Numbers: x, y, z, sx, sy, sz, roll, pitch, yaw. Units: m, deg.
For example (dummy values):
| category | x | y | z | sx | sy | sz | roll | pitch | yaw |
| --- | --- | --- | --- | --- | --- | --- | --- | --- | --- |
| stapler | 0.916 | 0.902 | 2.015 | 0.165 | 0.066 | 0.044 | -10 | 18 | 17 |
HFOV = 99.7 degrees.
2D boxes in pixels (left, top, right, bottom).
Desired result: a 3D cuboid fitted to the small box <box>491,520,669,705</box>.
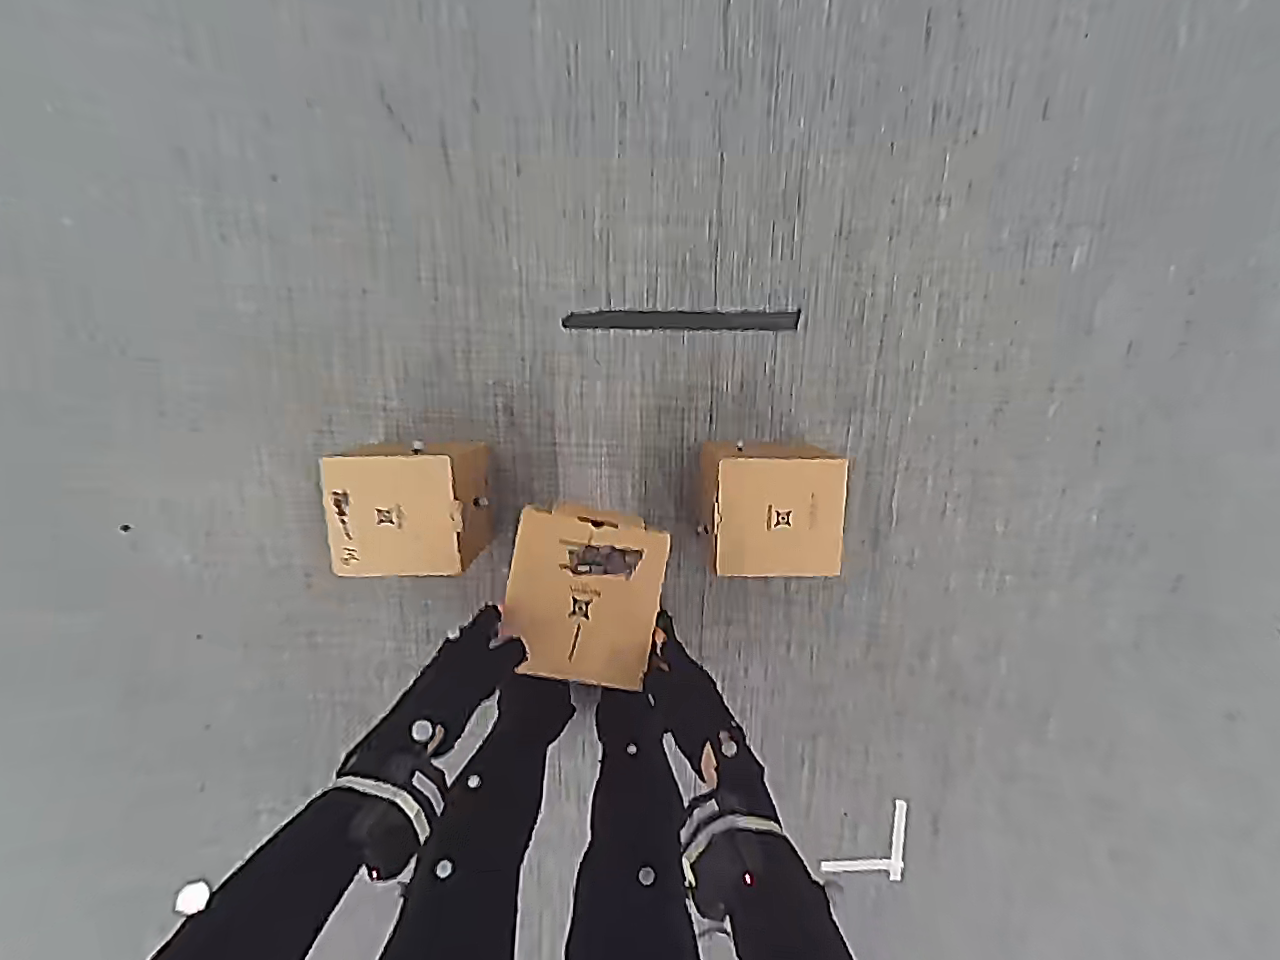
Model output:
| category | x | y | z | sx | sy | sz | roll | pitch | yaw |
| --- | --- | --- | --- | --- | --- | --- | --- | --- | --- |
| small box | -0.072 | 0.147 | 0.657 | 0.168 | 0.176 | 0.179 | 11 | 86 | -6 |

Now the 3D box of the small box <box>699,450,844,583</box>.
| category | x | y | z | sx | sy | sz | roll | pitch | yaw |
| --- | --- | --- | --- | --- | --- | --- | --- | --- | --- |
| small box | 0.183 | 0.047 | 0.809 | 0.179 | 0.176 | 0.168 | -1 | 101 | -2 |

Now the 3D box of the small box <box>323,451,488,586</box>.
| category | x | y | z | sx | sy | sz | roll | pitch | yaw |
| --- | --- | --- | --- | --- | --- | --- | --- | --- | --- |
| small box | -0.330 | 0.048 | 0.801 | 0.179 | 0.176 | 0.168 | -1 | 100 | -1 |
